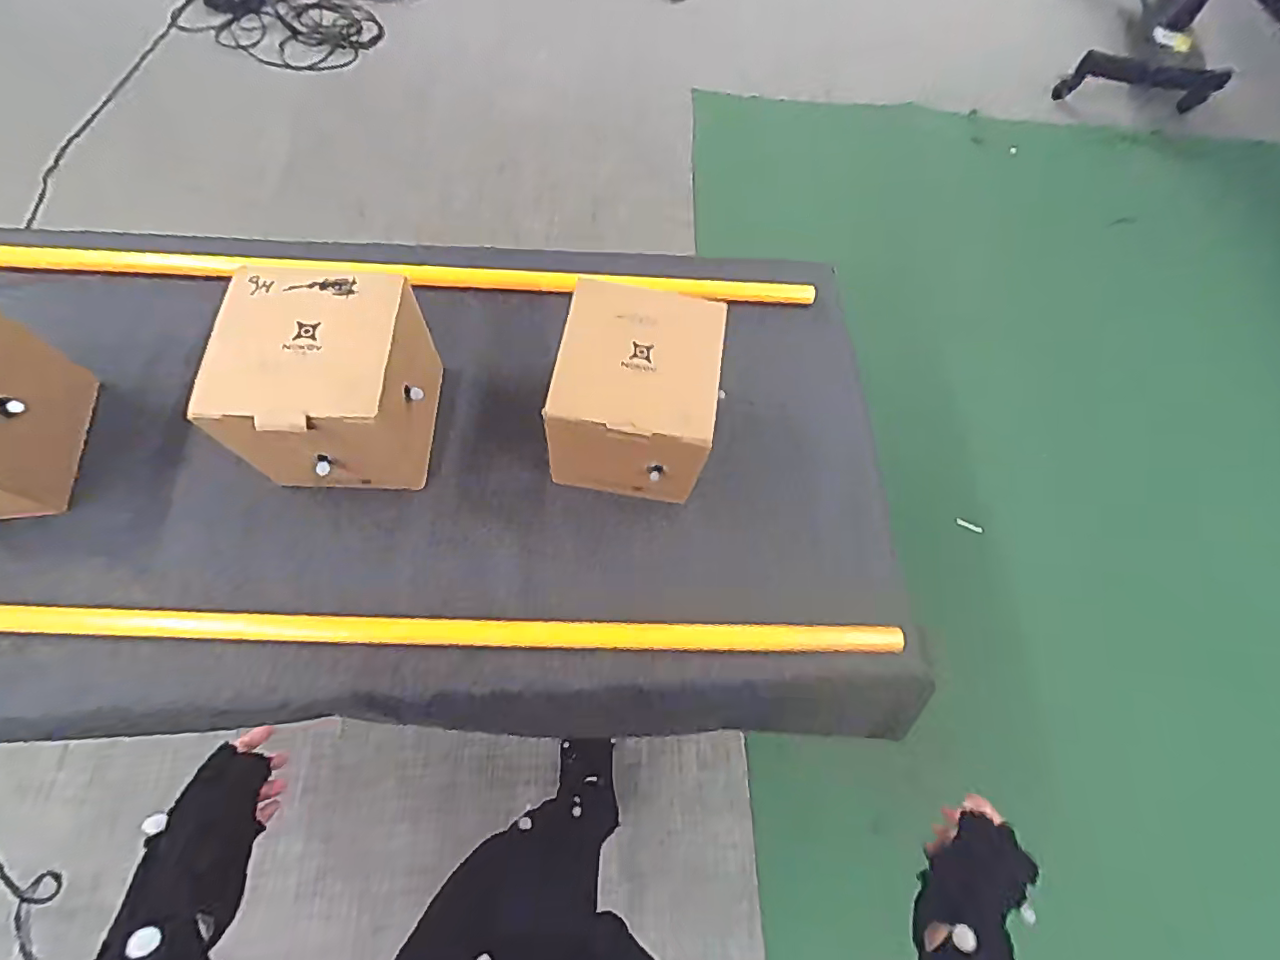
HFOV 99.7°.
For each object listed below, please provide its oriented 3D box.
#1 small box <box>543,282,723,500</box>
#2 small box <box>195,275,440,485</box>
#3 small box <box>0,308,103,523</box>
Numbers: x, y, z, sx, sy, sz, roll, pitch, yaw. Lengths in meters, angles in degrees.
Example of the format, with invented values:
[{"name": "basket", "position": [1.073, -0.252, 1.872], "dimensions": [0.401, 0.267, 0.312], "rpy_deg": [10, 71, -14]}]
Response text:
[{"name": "small box", "position": [-0.009, -0.092, 0.625], "dimensions": [0.168, 0.176, 0.179], "rpy_deg": [9, 65, -3]}, {"name": "small box", "position": [-0.330, -0.099, 0.598], "dimensions": [0.168, 0.176, 0.179], "rpy_deg": [-2, 66, -5]}, {"name": "small box", "position": [-0.706, -0.063, 0.542], "dimensions": [0.168, 0.176, 0.179], "rpy_deg": [-6, 68, -8]}]
